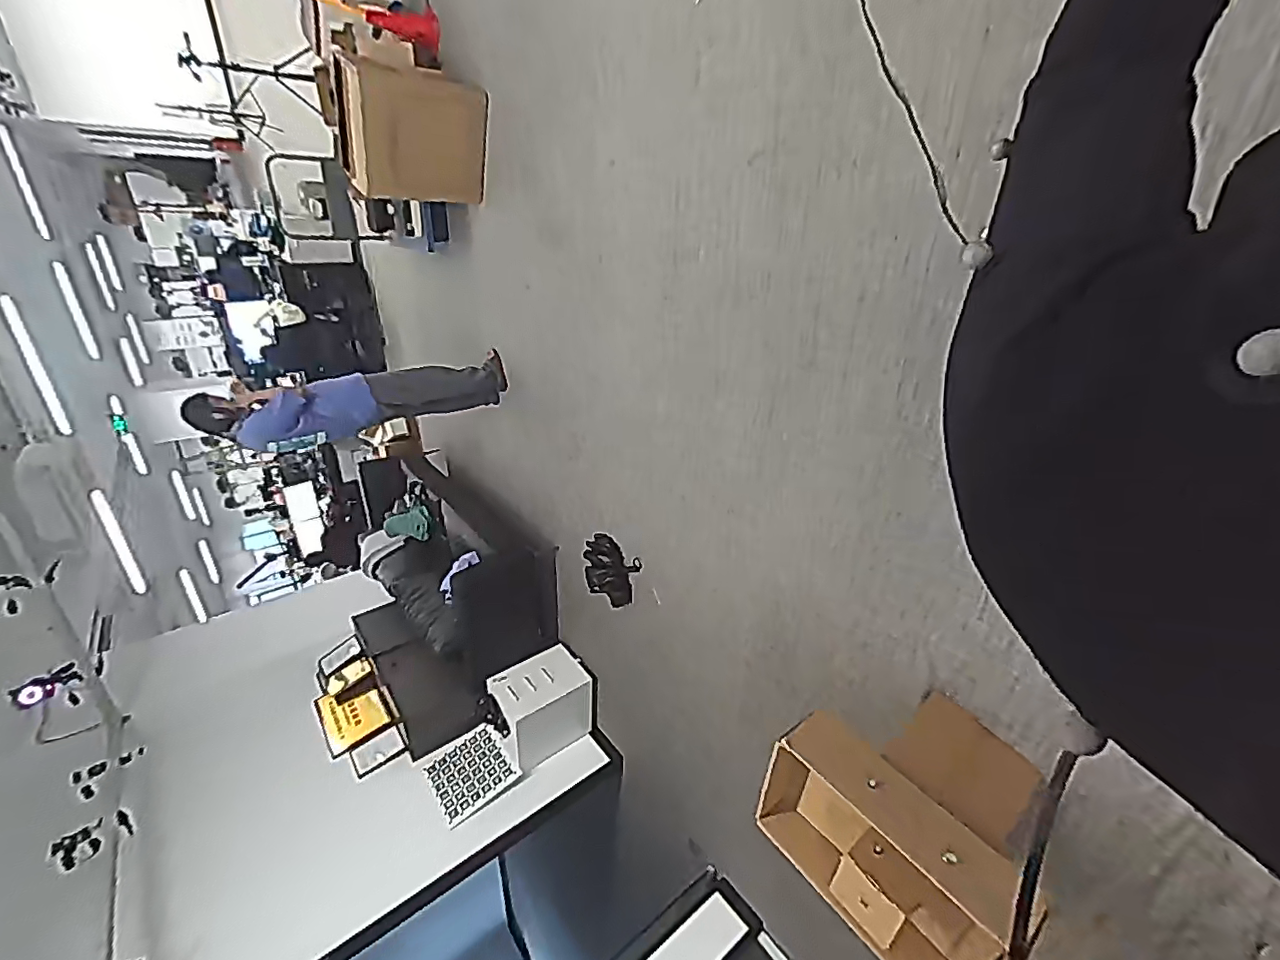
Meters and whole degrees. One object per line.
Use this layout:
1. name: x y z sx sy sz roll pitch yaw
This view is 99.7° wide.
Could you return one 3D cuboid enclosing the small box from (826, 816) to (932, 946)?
1. small box: 0.606 1.005 1.369 0.168 0.176 0.179 35 133 44
